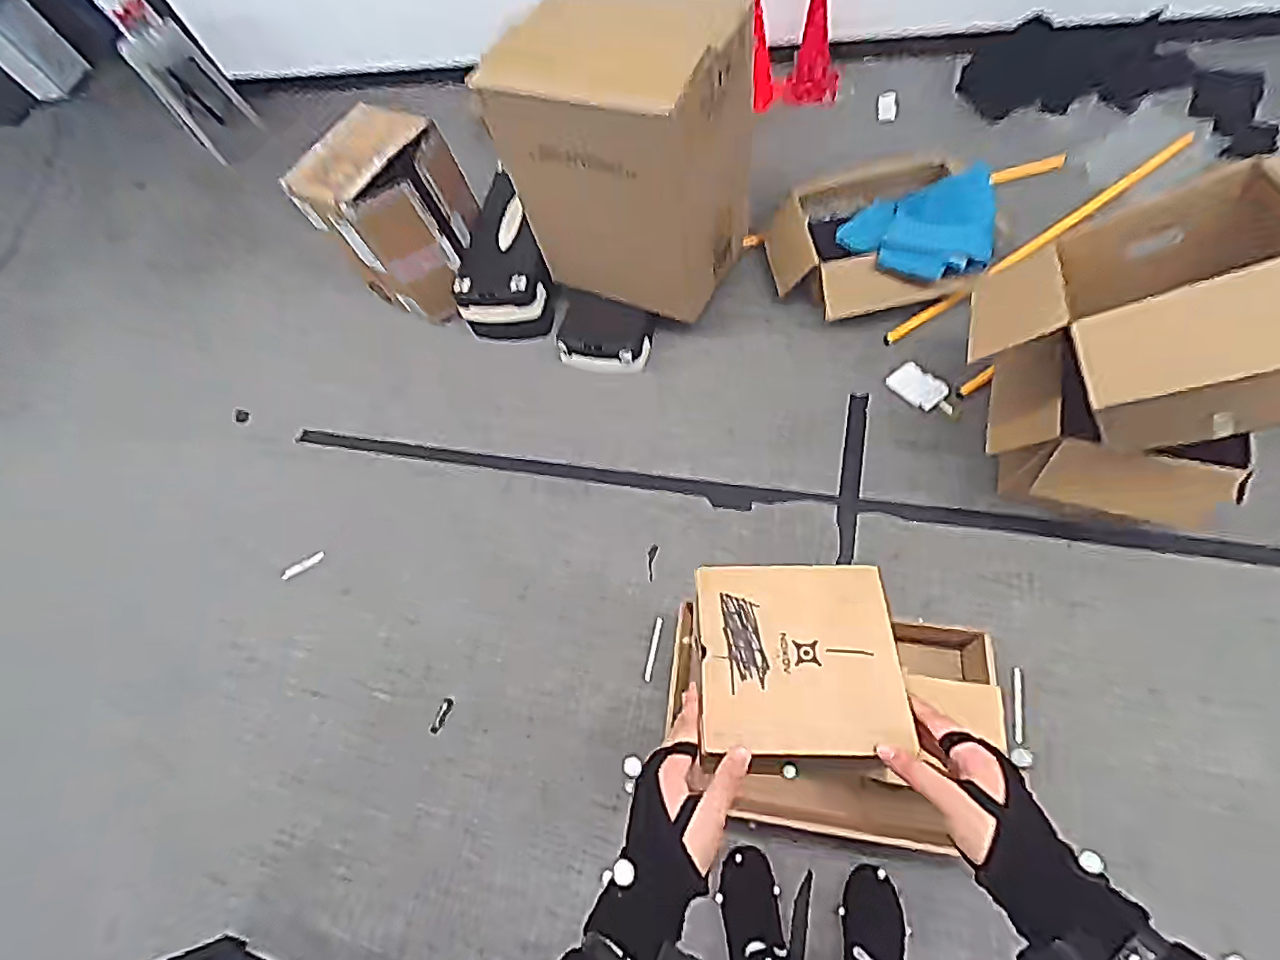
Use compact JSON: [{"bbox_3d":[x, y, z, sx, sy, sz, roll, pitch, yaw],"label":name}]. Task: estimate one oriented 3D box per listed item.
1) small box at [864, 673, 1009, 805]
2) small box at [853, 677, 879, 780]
[{"bbox_3d":[0.490,0.433,0.918,0.179,0.176,0.168,4,66,14],"label":"small box"},{"bbox_3d":[0.522,0.500,1.063,0.168,0.176,0.179,5,65,13],"label":"small box"}]
